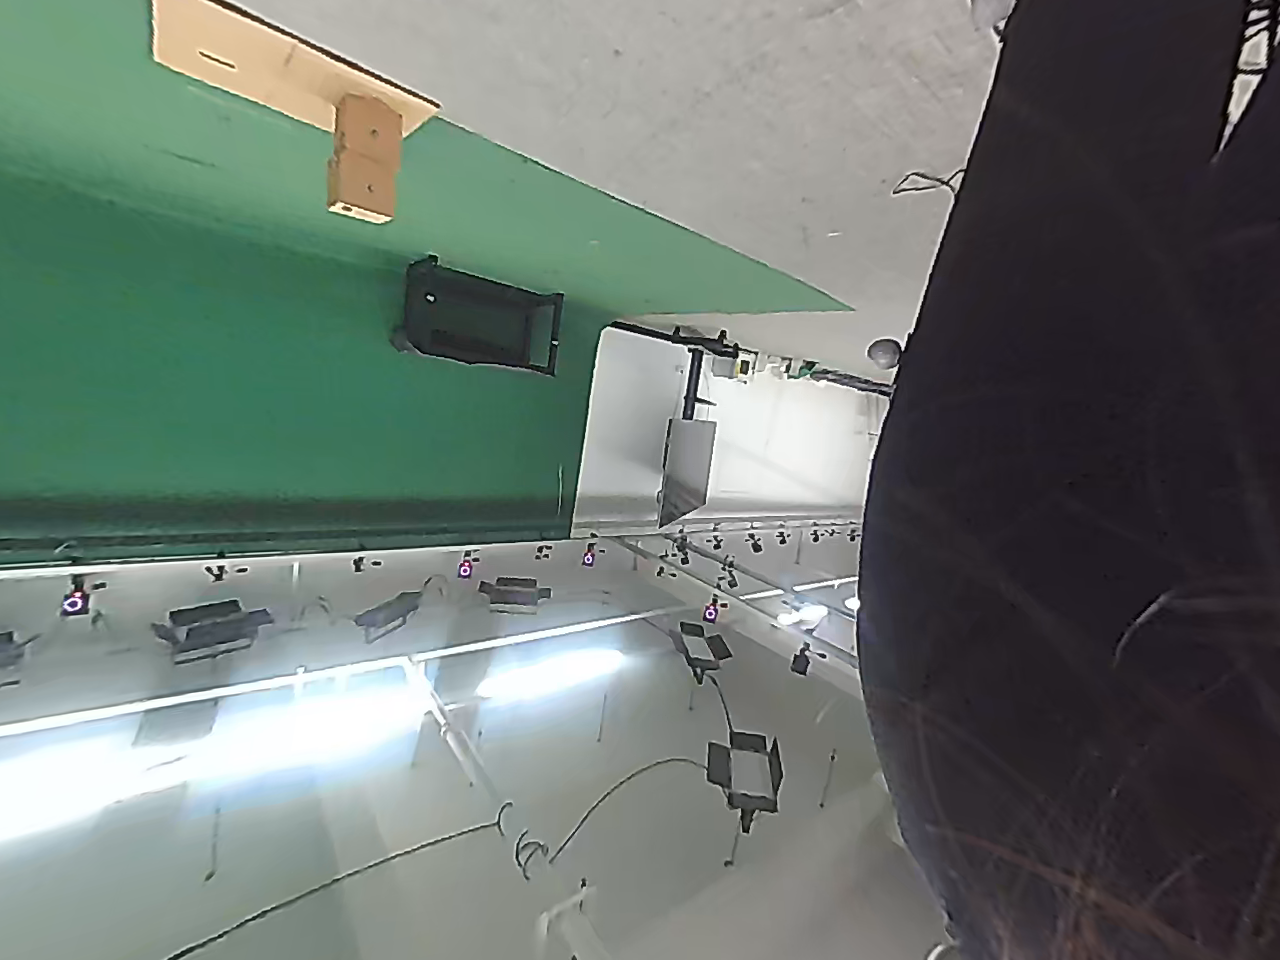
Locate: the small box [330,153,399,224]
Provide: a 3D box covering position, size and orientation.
[{"bbox_3d":[-0.959,-1.014,1.878,0.179,0.176,0.168,-3,-166,-44],"label":"small box"}]
